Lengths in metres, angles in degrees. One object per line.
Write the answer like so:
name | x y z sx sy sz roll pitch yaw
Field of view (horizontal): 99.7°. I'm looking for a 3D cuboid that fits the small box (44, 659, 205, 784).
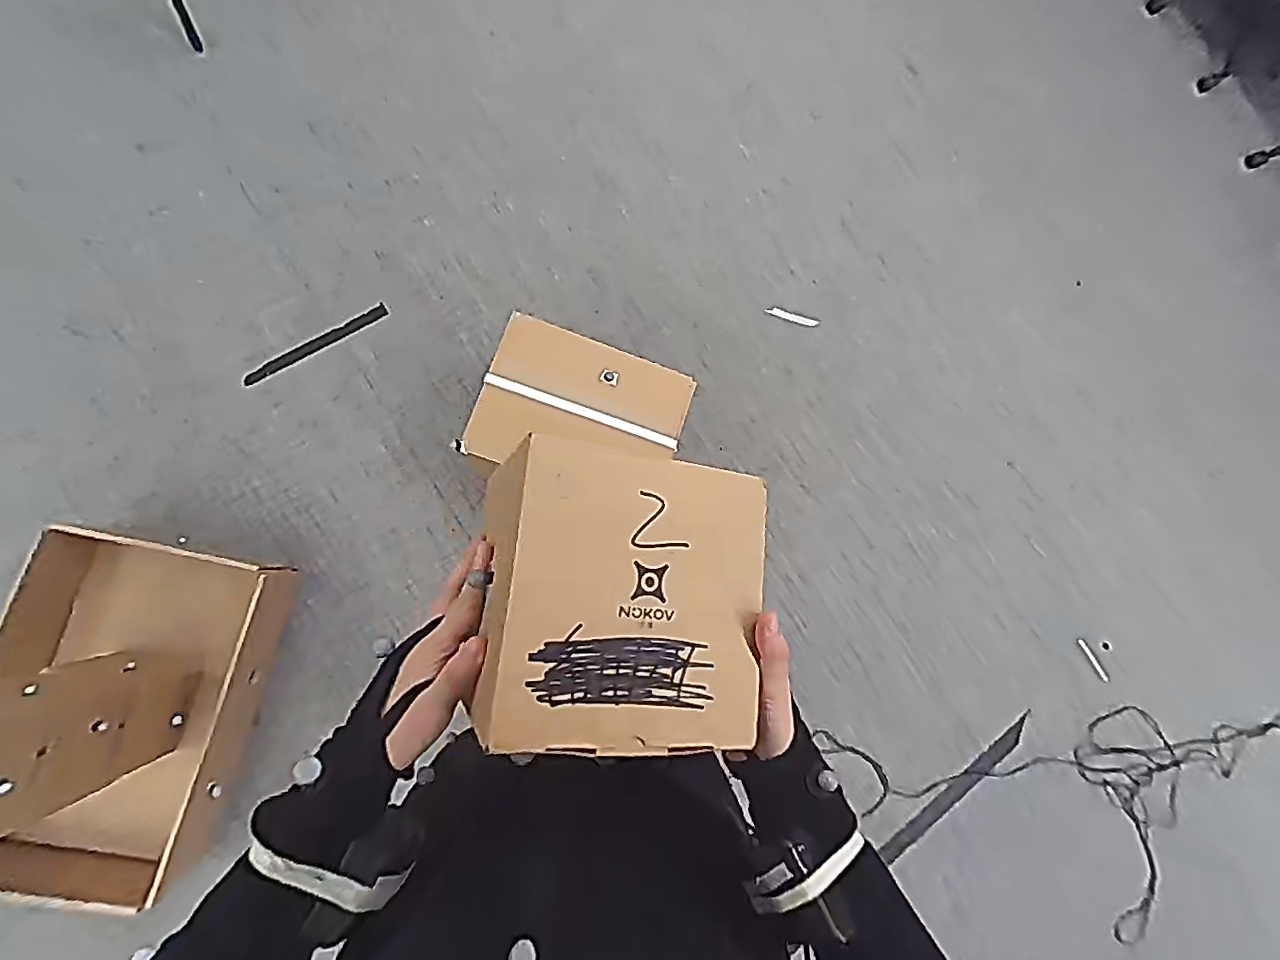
small box | -0.993 0.448 1.028 0.179 0.176 0.168 14 79 -9
